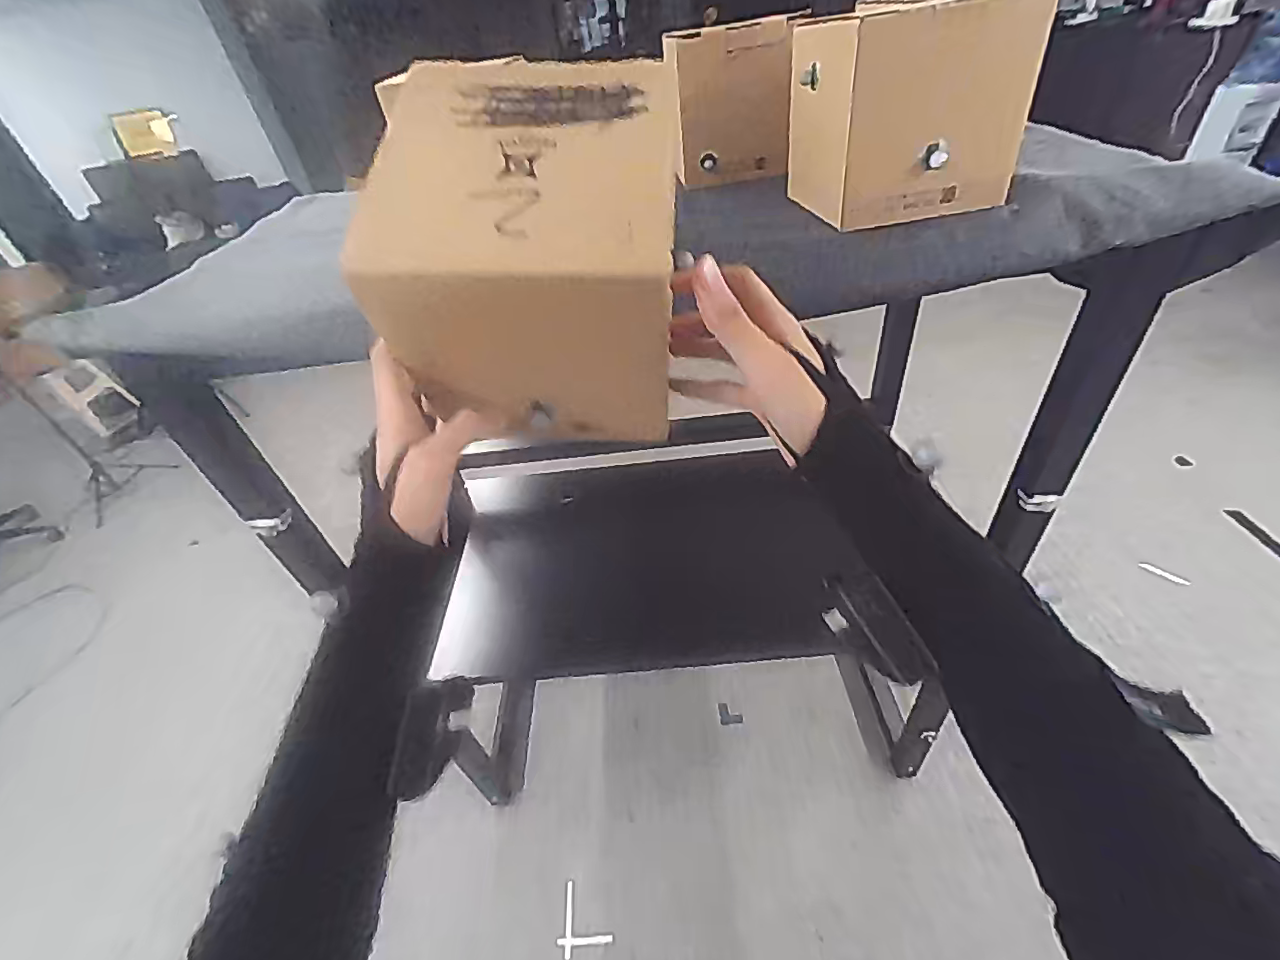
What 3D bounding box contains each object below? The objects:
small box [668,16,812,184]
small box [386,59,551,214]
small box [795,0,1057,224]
[{"bbox_3d":[0.135,-0.532,0.766,0.168,0.176,0.179,-7,40,2],"label":"small box"},{"bbox_3d":[-0.240,-0.513,0.812,0.168,0.176,0.179,-3,41,7],"label":"small box"},{"bbox_3d":[0.265,-0.377,0.557,0.168,0.176,0.179,-9,38,1],"label":"small box"}]
